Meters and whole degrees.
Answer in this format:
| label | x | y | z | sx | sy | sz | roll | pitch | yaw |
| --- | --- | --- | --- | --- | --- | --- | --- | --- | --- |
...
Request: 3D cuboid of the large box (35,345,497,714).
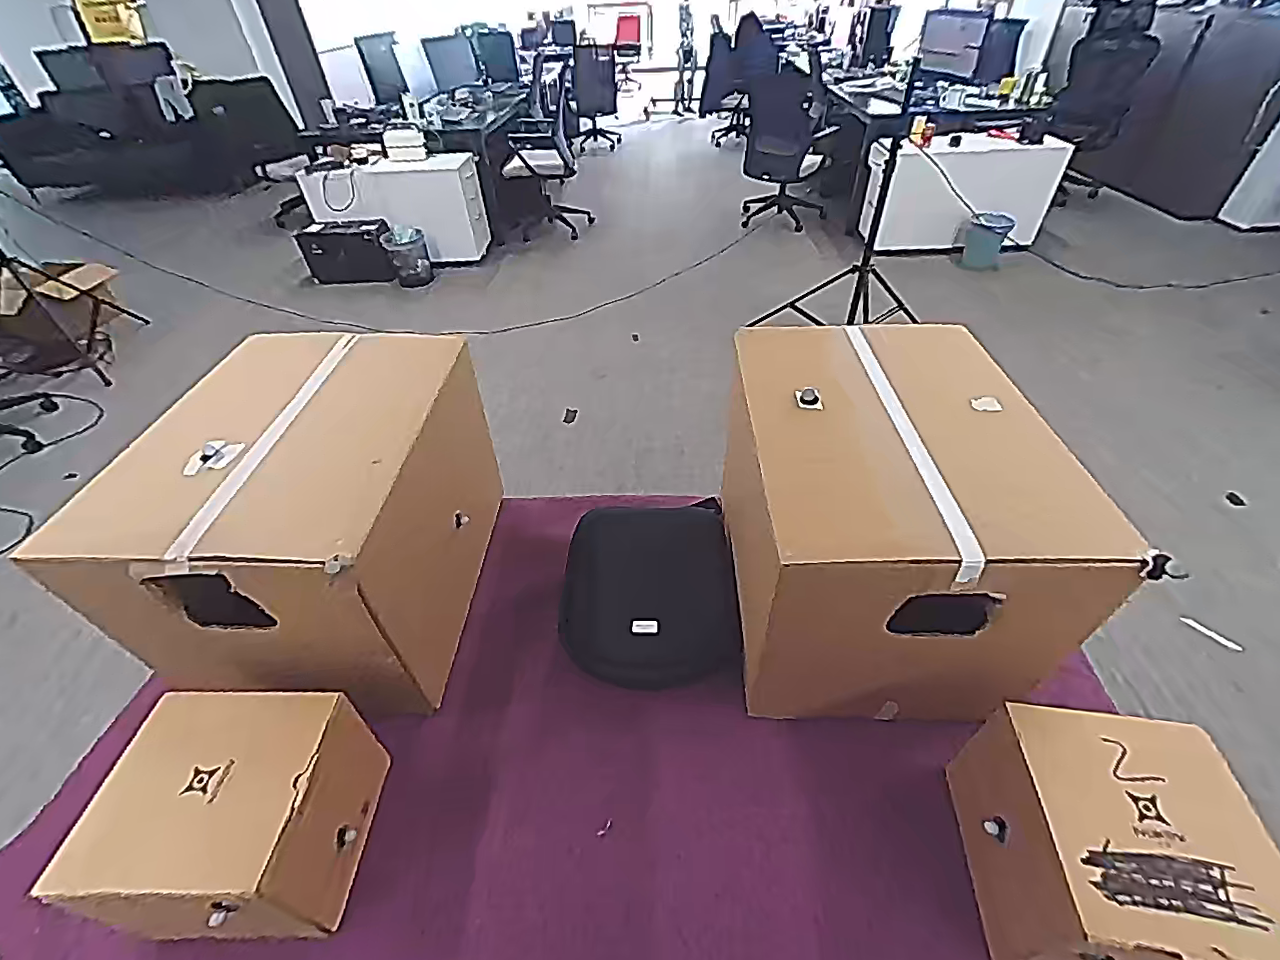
| label | x | y | z | sx | sy | sz | roll | pitch | yaw |
| --- | --- | --- | --- | --- | --- | --- | --- | --- | --- |
| large box | -0.405 | 0.057 | 0.737 | 0.320 | 0.320 | 0.408 | 0 | 45 | 1 |
